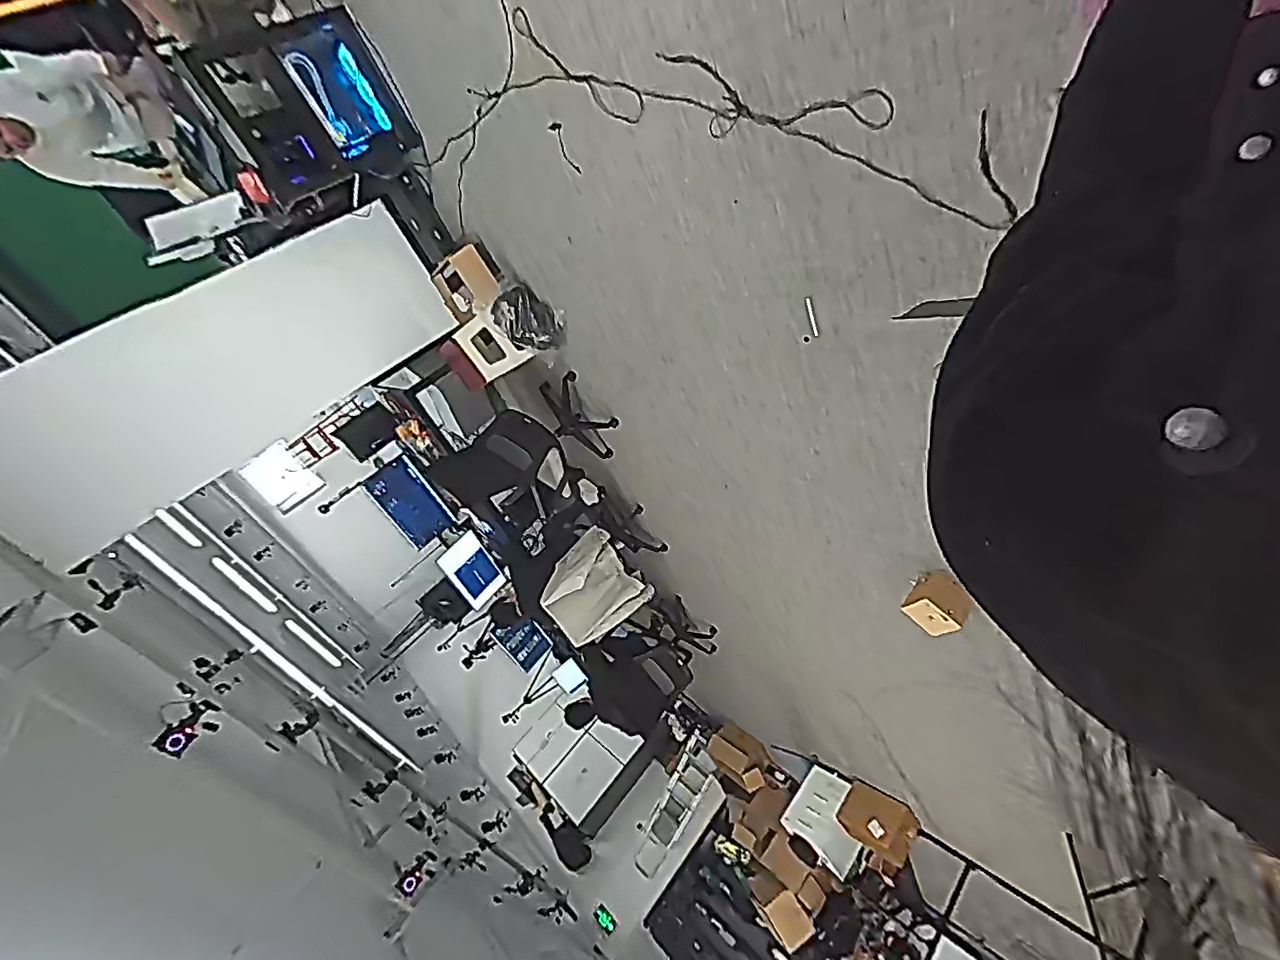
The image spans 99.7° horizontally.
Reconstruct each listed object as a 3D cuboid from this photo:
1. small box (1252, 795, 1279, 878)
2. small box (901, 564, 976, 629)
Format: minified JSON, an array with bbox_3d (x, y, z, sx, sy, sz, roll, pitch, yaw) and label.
[{"bbox_3d":[1.918,1.061,1.567,0.168,0.176,0.179,11,139,52],"label":"small box"},{"bbox_3d":[1.201,0.468,2.172,0.168,0.176,0.179,41,155,11],"label":"small box"}]
